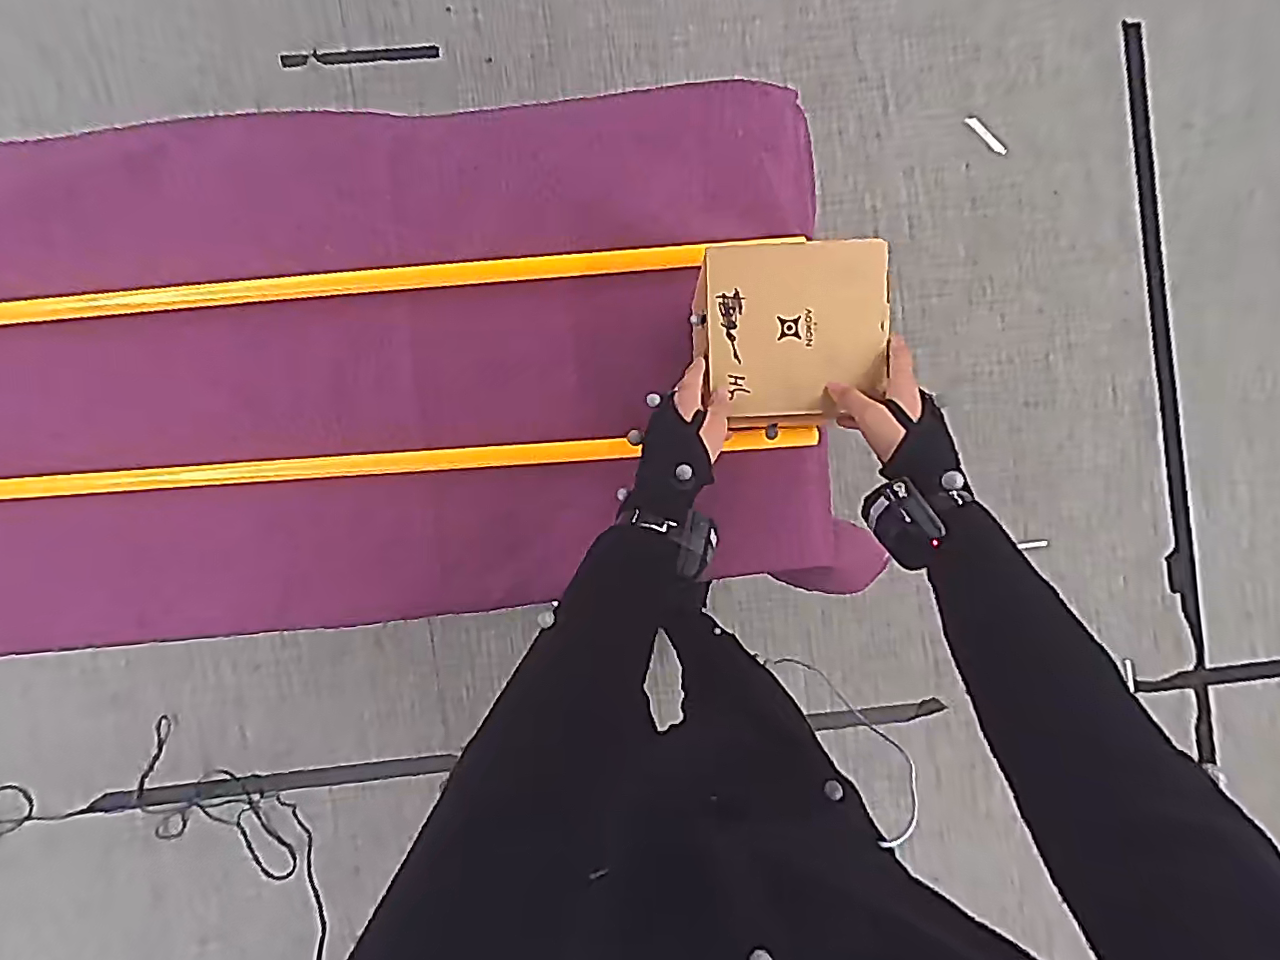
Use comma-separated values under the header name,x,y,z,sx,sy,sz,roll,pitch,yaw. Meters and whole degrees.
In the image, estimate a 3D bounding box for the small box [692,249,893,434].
name,x,y,z,sx,sy,sz,roll,pitch,yaw
small box,0.153,-0.139,0.593,0.179,0.176,0.168,-1,91,1
